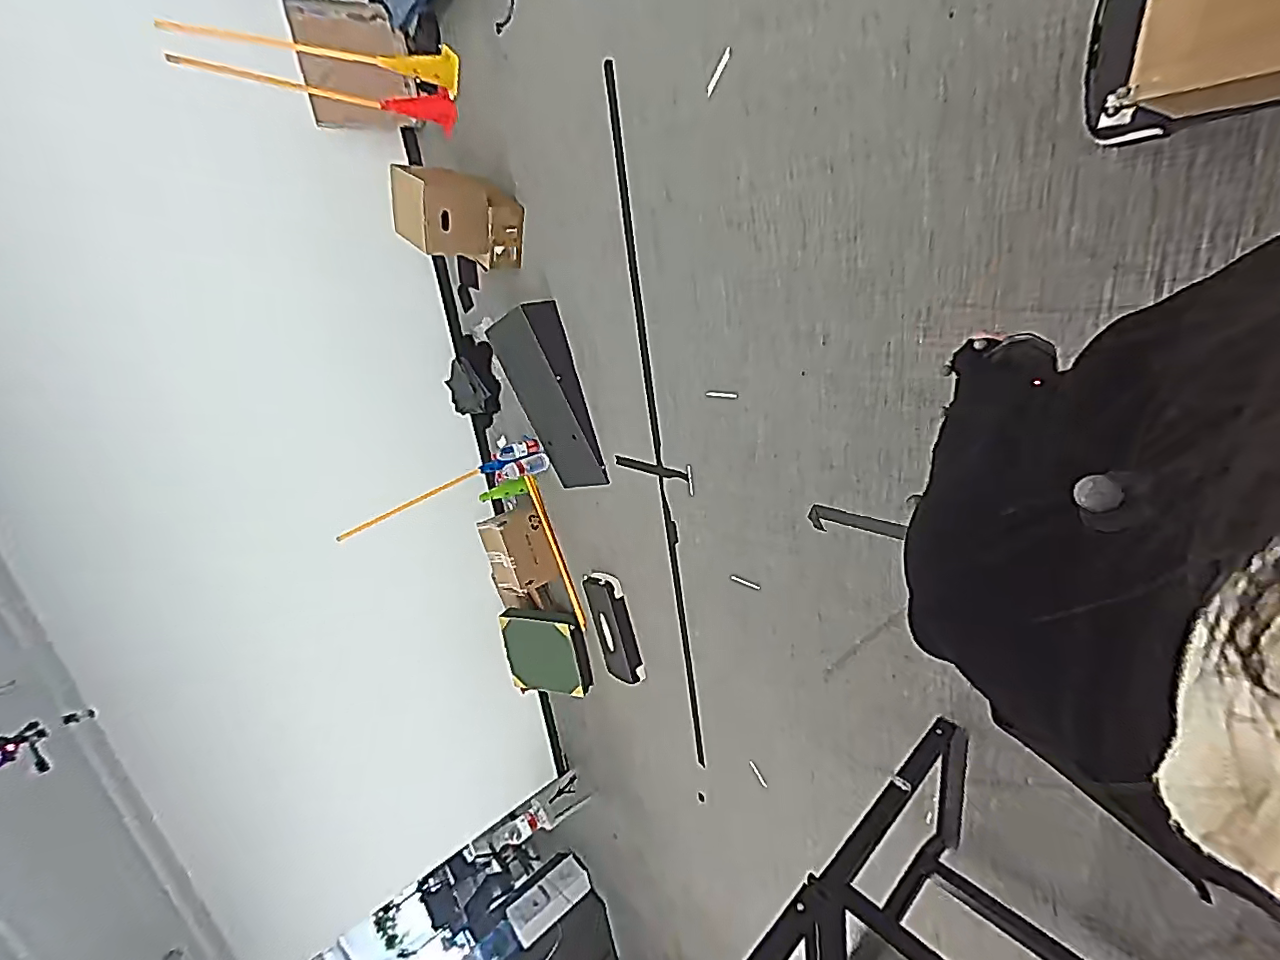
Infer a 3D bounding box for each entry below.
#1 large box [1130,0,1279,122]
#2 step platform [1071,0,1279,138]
[{"bbox_3d":[0.860,-0.620,0.581,0.408,0.320,0.320,21,123,48],"label":"large box"},{"bbox_3d":[1.030,-0.686,0.736,0.684,0.204,0.286,24,126,46],"label":"step platform"}]
